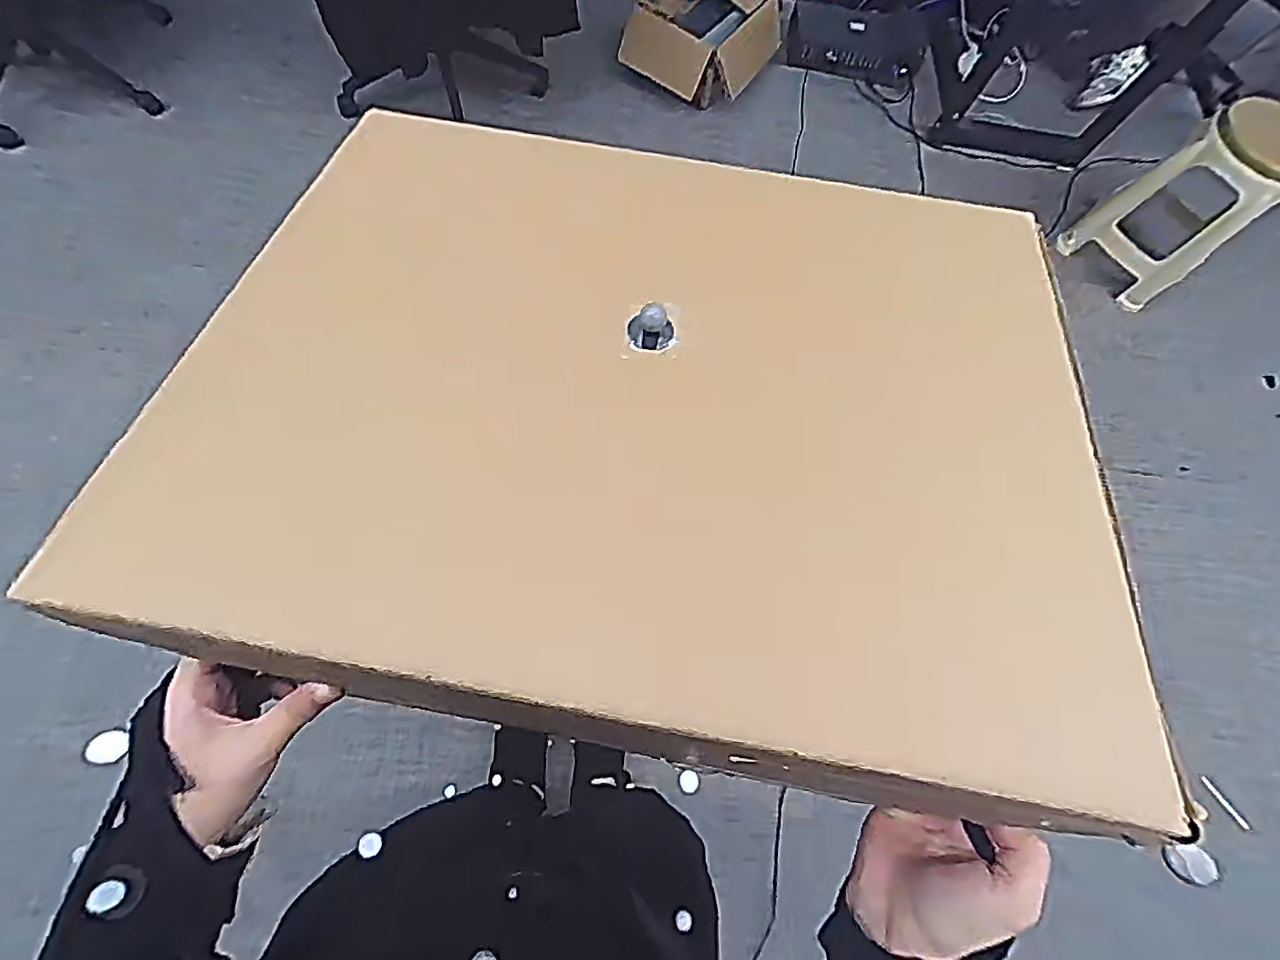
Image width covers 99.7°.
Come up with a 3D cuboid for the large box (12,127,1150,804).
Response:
[{"bbox_3d":[-0.015,0.007,0.381,0.408,0.320,0.320,9,64,3],"label":"large box"}]
